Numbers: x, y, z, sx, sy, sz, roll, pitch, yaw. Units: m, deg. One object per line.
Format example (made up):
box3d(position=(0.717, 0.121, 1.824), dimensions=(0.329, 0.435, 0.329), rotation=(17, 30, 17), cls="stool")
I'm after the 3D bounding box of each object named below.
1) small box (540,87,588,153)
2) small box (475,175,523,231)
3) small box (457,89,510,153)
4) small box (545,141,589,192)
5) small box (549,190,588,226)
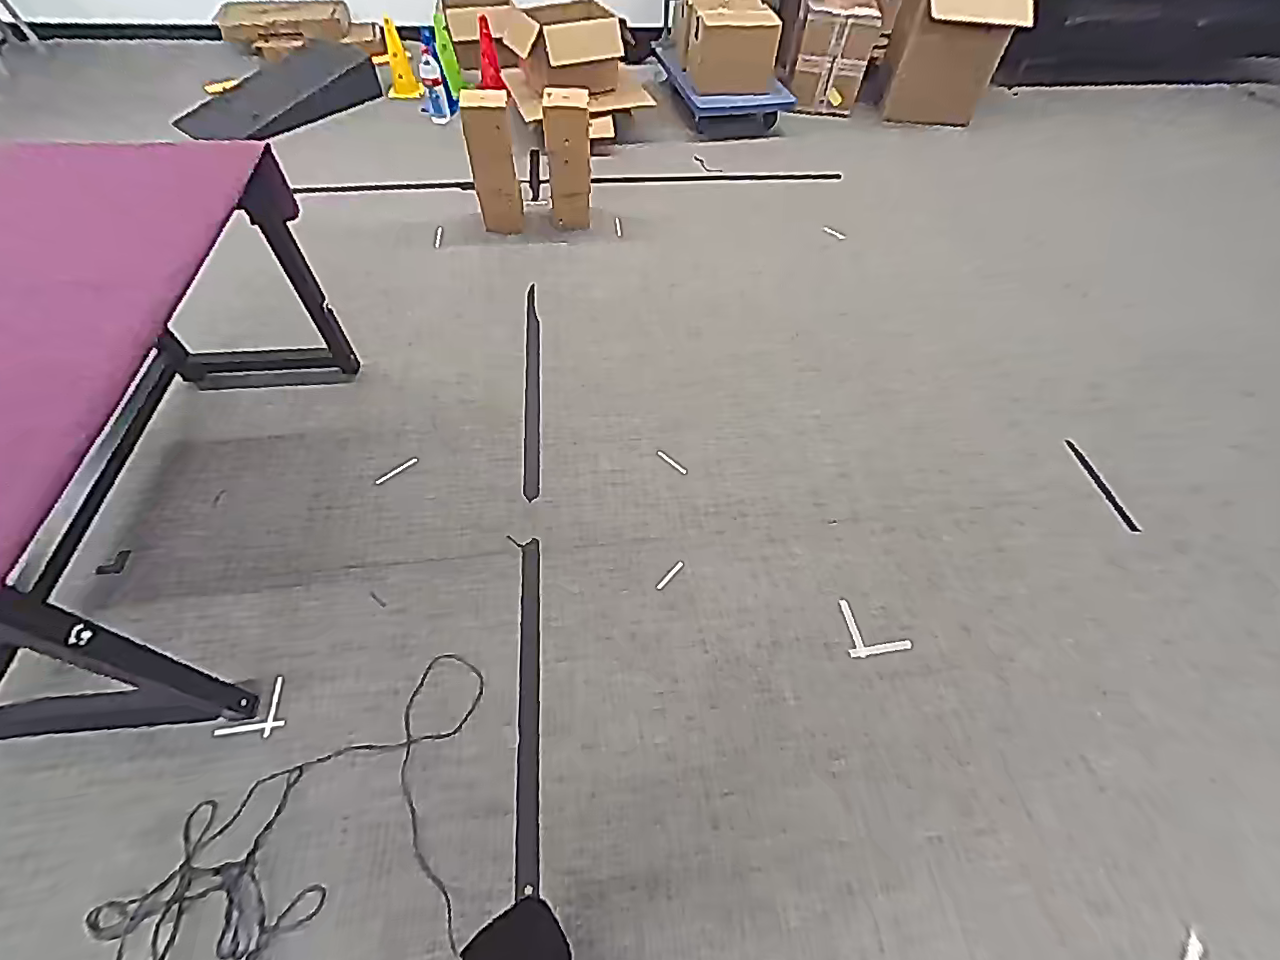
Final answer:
box3d(position=(-0.300, -1.437, 2.162), dimensions=(0.179, 0.176, 0.168), rotation=(1, 56, -4), cls="small box")
box3d(position=(-0.622, -1.228, 2.400), dimensions=(0.179, 0.176, 0.168), rotation=(-3, 56, -6), cls="small box")
box3d(position=(-0.610, -1.411, 2.129), dimensions=(0.179, 0.176, 0.168), rotation=(-5, 54, -6), cls="small box")
box3d(position=(-0.308, -1.348, 2.299), dimensions=(0.179, 0.176, 0.168), rotation=(-2, 57, -6), cls="small box")
box3d(position=(-0.323, -1.269, 2.444), dimensions=(0.168, 0.176, 0.179), rotation=(-4, 56, -7), cls="small box")
